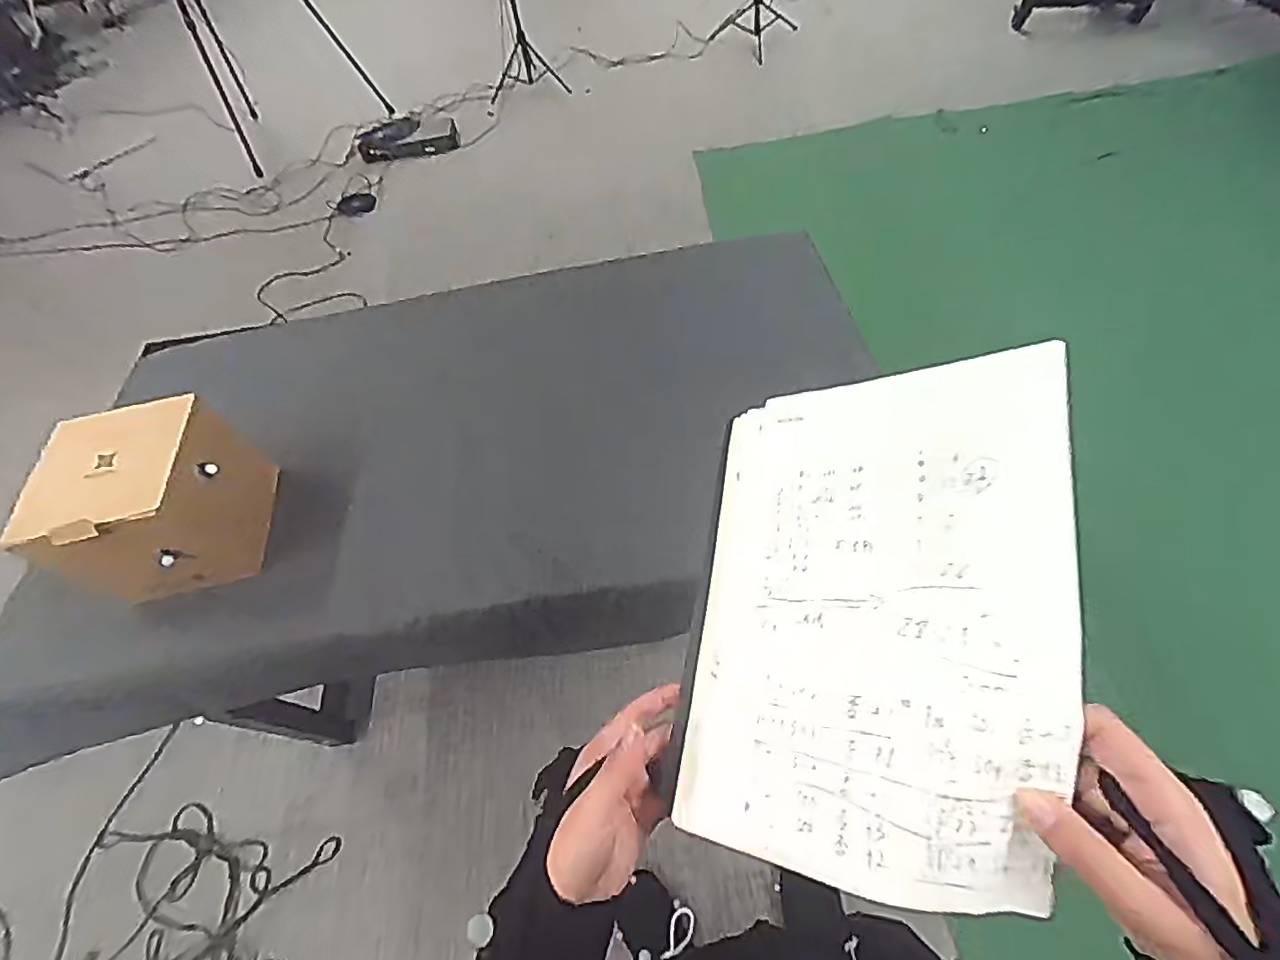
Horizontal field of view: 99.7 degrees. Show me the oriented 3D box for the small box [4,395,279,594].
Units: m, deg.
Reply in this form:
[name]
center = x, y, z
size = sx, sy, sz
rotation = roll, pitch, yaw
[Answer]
[small box]
center = -0.592, 0.027, 0.676
size = 0.168, 0.176, 0.179
rotation = -13, 55, -3
